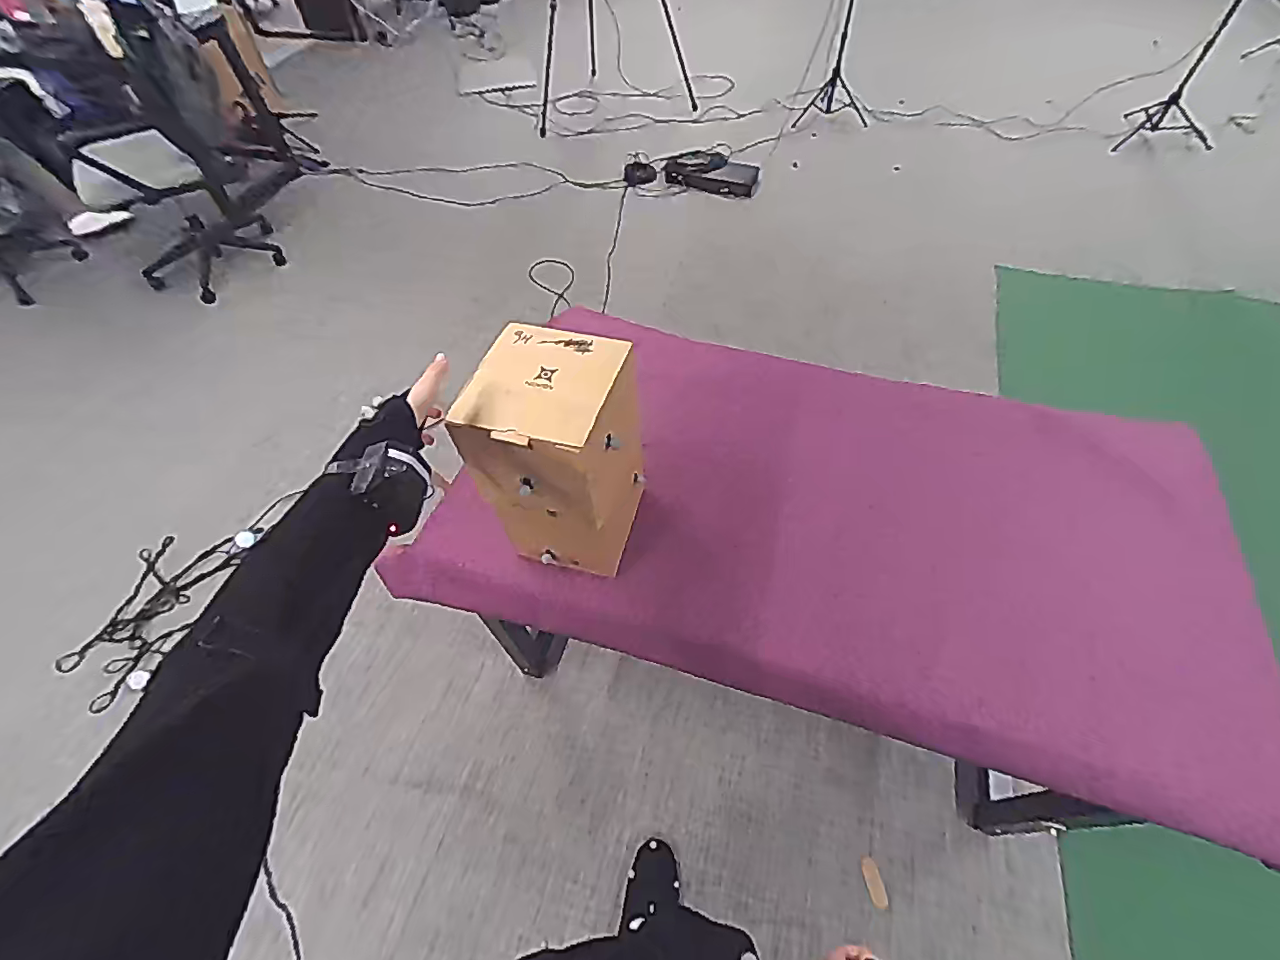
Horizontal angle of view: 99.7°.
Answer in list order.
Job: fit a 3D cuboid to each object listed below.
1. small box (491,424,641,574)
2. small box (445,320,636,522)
[{"bbox_3d":[-0.099,0.016,0.822,0.168,0.176,0.179,12,56,11],"label":"small box"},{"bbox_3d":[-0.107,-0.070,0.683,0.168,0.176,0.179,13,57,12],"label":"small box"}]
